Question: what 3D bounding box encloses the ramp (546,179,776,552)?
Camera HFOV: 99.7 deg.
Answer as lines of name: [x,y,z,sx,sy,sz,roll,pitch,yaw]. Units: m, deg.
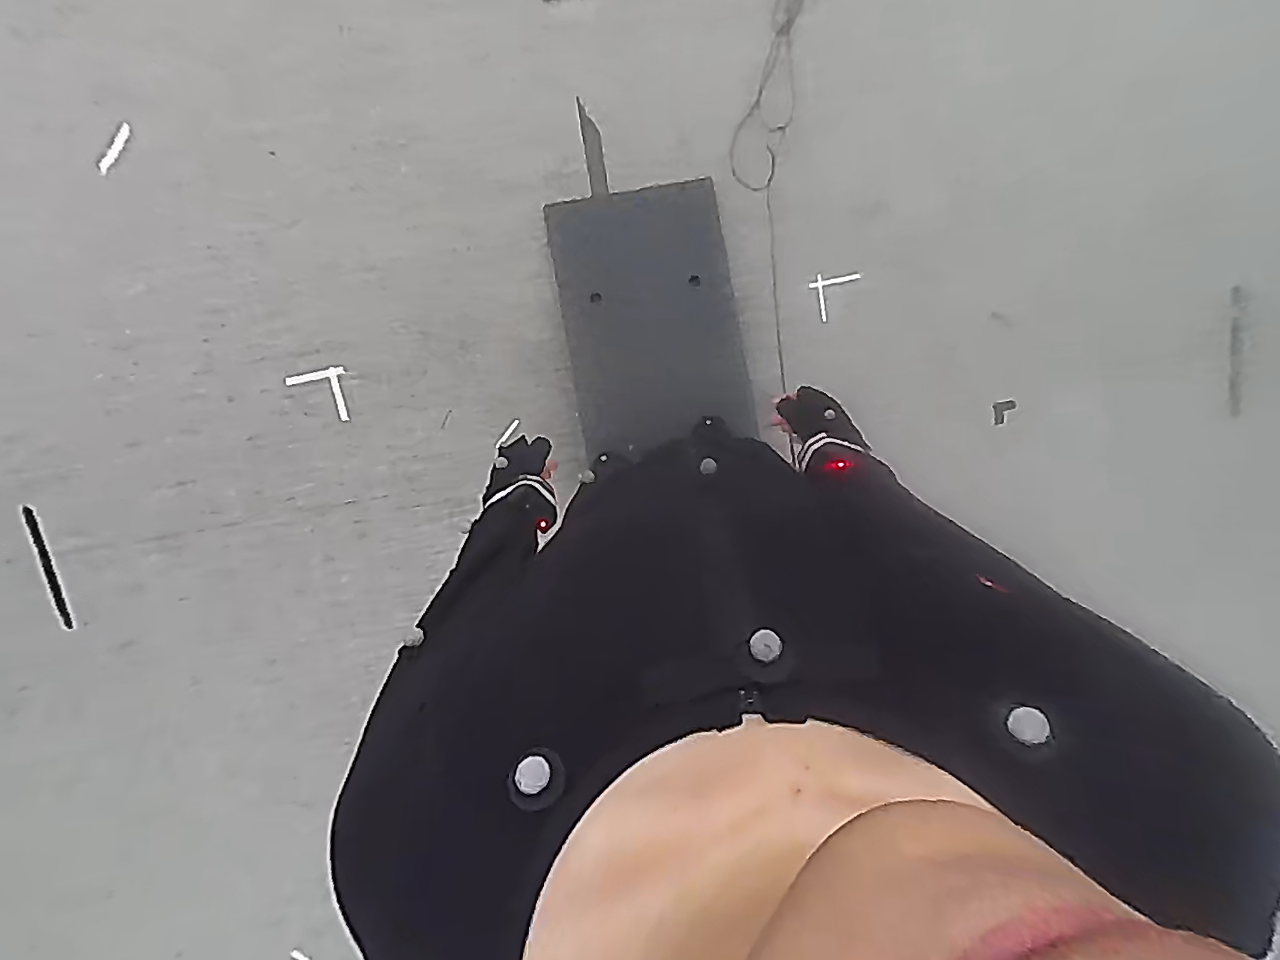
ramp: [0.051,-0.327,1.526,0.509,0.206,0.991,-12,98,1]
